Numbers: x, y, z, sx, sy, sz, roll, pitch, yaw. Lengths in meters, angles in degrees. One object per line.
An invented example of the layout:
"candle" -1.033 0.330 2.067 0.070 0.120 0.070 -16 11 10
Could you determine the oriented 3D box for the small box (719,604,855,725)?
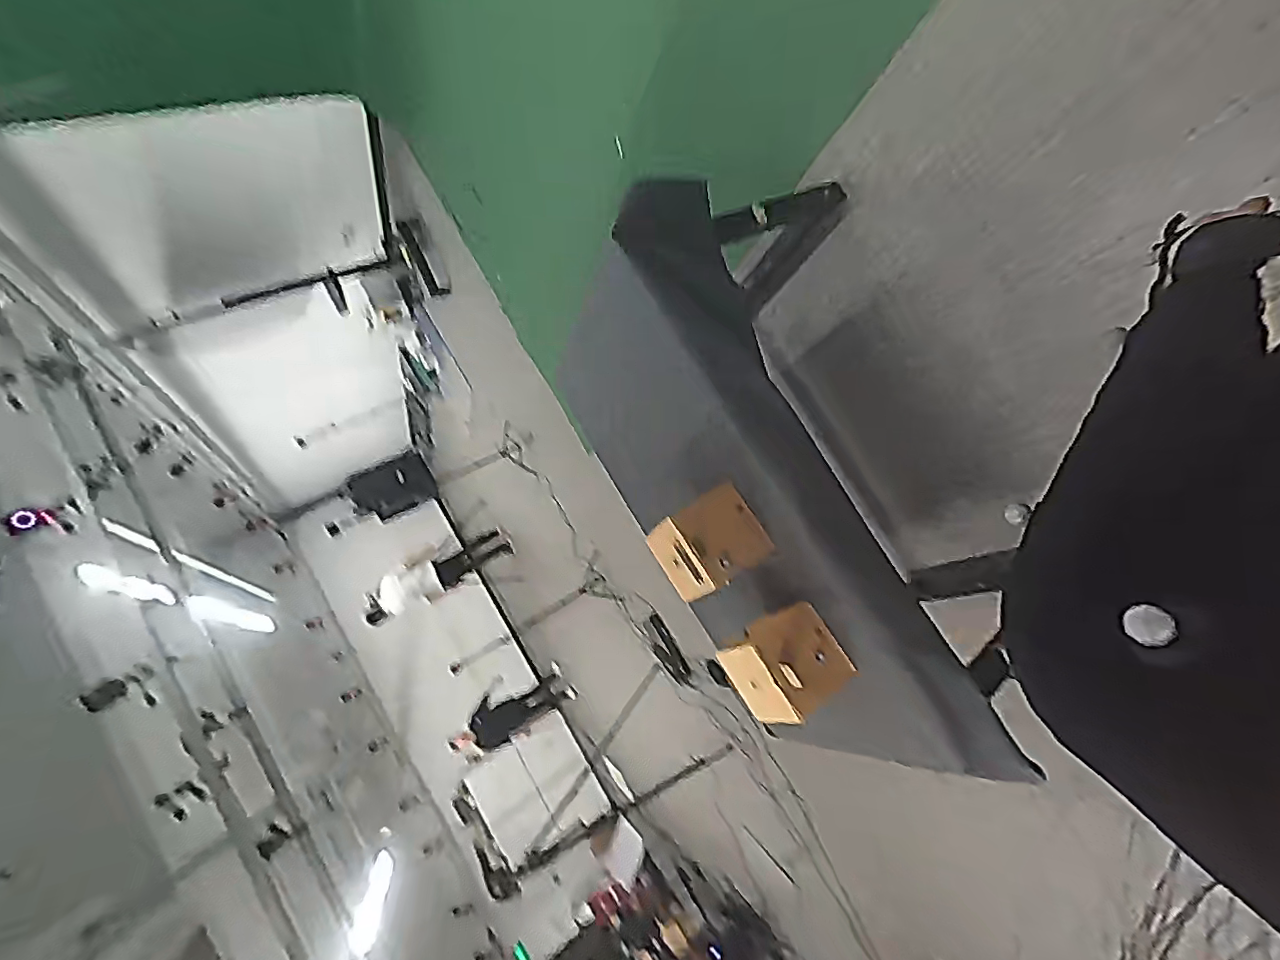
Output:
"small box" 0.301 0.379 1.114 0.168 0.176 0.179 57 153 11
